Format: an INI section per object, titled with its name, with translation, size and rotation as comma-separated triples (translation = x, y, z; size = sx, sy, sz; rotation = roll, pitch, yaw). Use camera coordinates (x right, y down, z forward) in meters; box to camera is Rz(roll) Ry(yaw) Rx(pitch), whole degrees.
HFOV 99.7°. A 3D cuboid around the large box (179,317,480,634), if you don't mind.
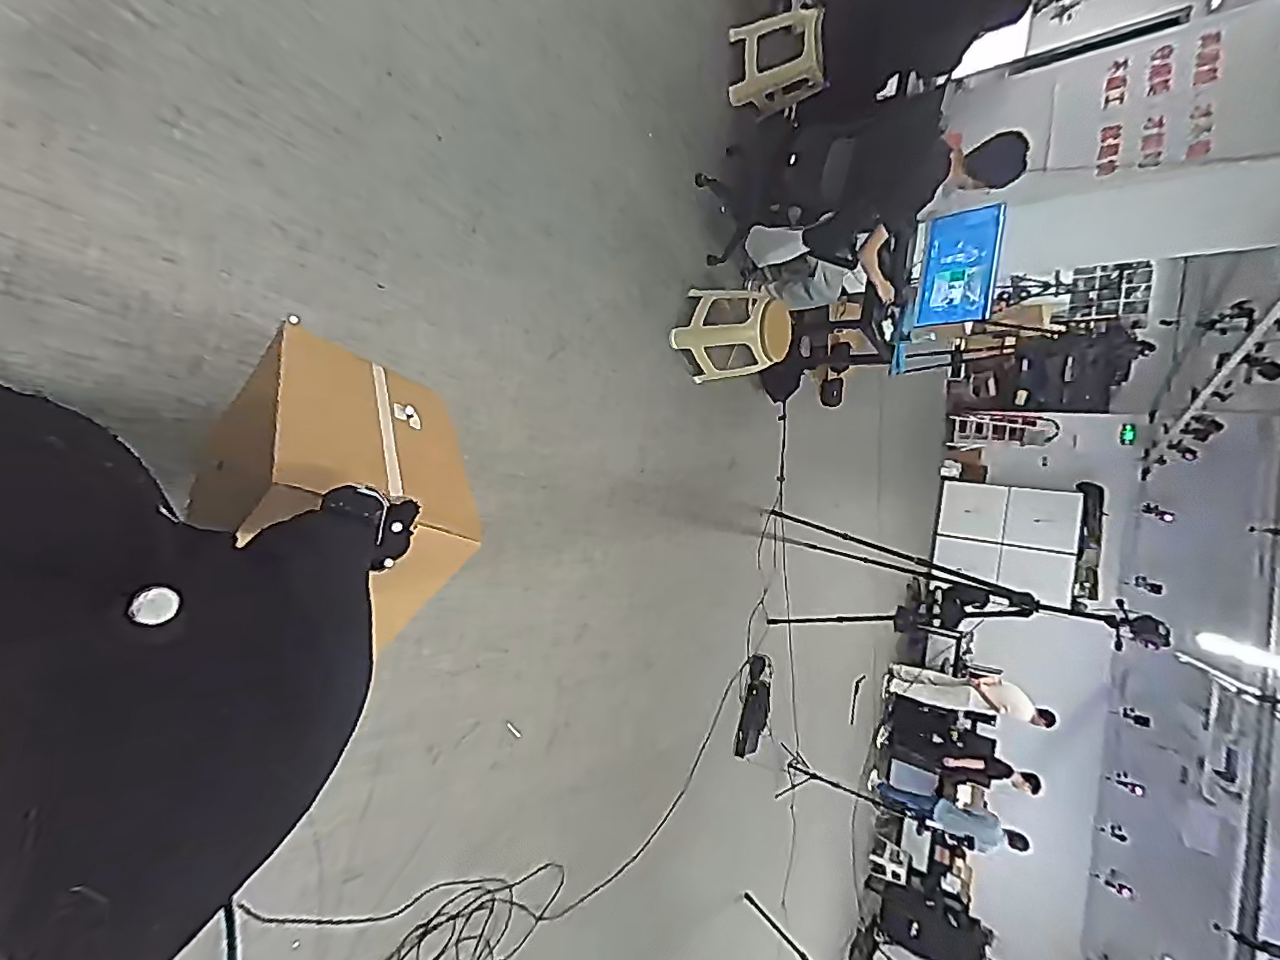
[large box]
translation = -0.530, 0.005, 0.939
size = 0.320, 0.408, 0.320
rotation = -43, 139, 17
